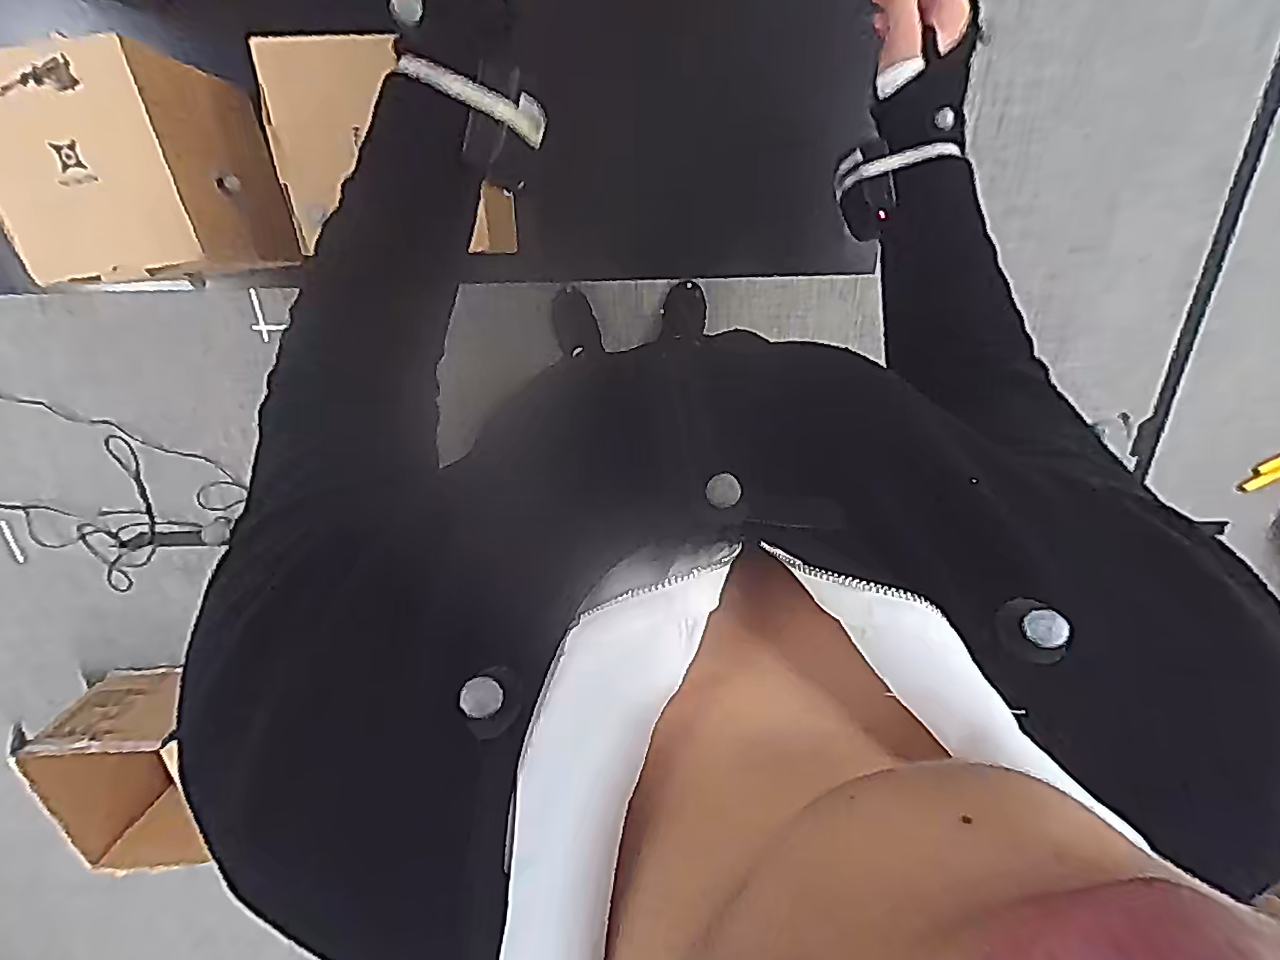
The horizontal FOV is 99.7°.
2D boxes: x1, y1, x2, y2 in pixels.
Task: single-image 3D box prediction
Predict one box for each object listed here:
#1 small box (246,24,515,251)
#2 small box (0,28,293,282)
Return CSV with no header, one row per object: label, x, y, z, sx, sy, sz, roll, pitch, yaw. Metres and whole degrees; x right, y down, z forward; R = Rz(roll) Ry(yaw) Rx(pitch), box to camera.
small box,-0.235,-0.322,0.542,0.179,0.176,0.168,-3,113,-2
small box,-0.491,-0.304,0.538,0.168,0.176,0.179,-8,113,1
